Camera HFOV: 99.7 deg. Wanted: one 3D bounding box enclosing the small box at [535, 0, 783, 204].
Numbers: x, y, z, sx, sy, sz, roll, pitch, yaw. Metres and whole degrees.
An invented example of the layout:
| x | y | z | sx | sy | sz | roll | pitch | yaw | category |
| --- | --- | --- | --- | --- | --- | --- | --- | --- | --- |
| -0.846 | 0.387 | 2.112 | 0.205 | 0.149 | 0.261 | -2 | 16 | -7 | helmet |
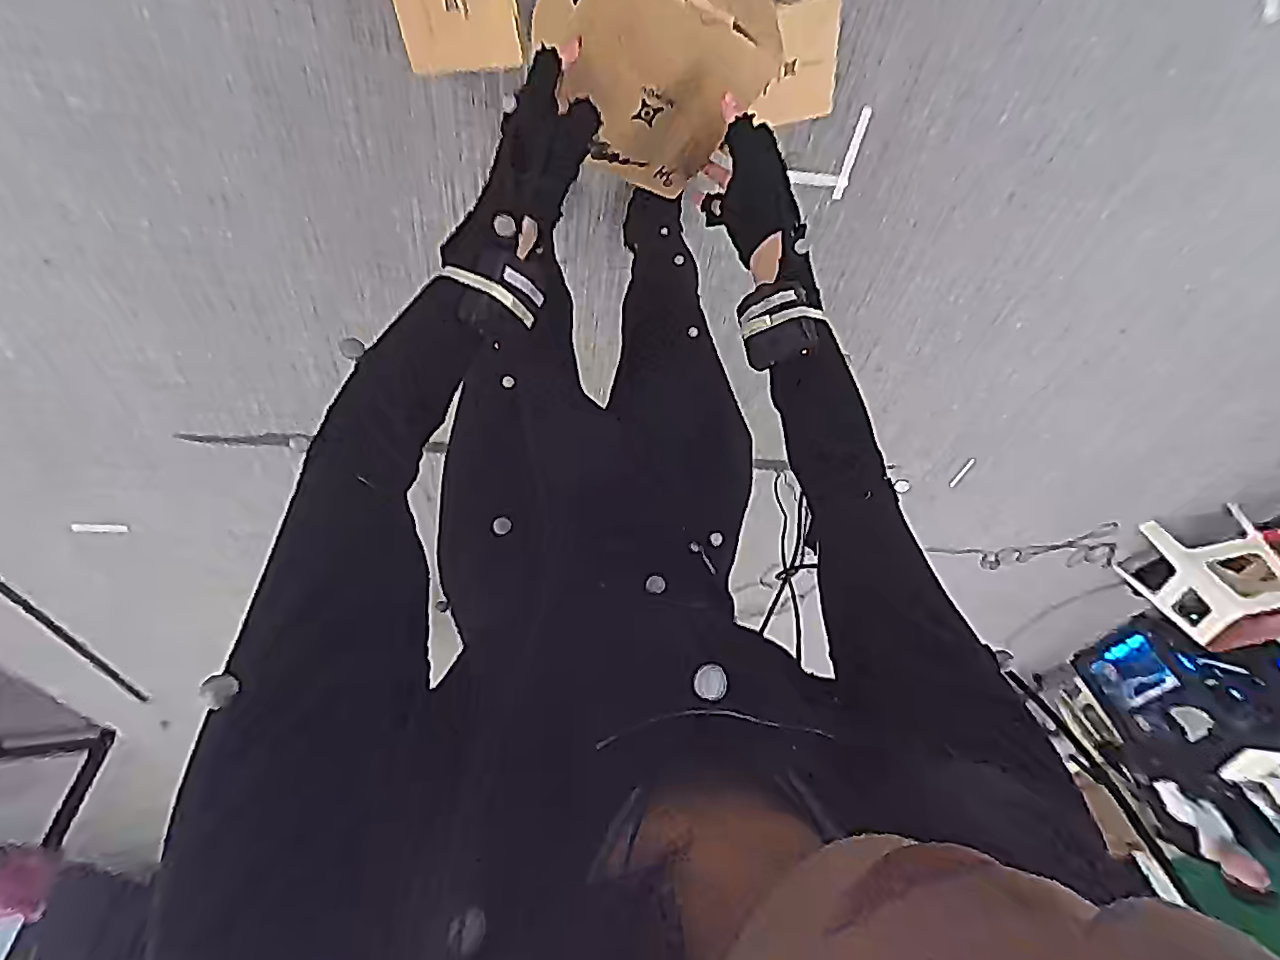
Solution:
| x | y | z | sx | sy | sz | roll | pitch | yaw | category |
| --- | --- | --- | --- | --- | --- | --- | --- | --- | --- |
| 0.004 | -0.414 | 0.514 | 0.168 | 0.176 | 0.179 | 5 | 161 | -32 | small box |

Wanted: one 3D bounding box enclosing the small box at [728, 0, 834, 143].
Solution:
| x | y | z | sx | sy | sz | roll | pitch | yaw | category |
| --- | --- | --- | --- | --- | --- | --- | --- | --- | --- |
| 0.223 | -0.728 | 0.961 | 0.179 | 0.176 | 0.168 | -11 | 136 | 2 | small box |

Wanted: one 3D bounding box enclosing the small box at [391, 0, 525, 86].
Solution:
| x | y | z | sx | sy | sz | roll | pitch | yaw | category |
| --- | --- | --- | --- | --- | --- | --- | --- | --- | --- |
| -0.284 | -0.748 | 0.858 | 0.179 | 0.176 | 0.168 | -7 | 135 | -1 | small box |
